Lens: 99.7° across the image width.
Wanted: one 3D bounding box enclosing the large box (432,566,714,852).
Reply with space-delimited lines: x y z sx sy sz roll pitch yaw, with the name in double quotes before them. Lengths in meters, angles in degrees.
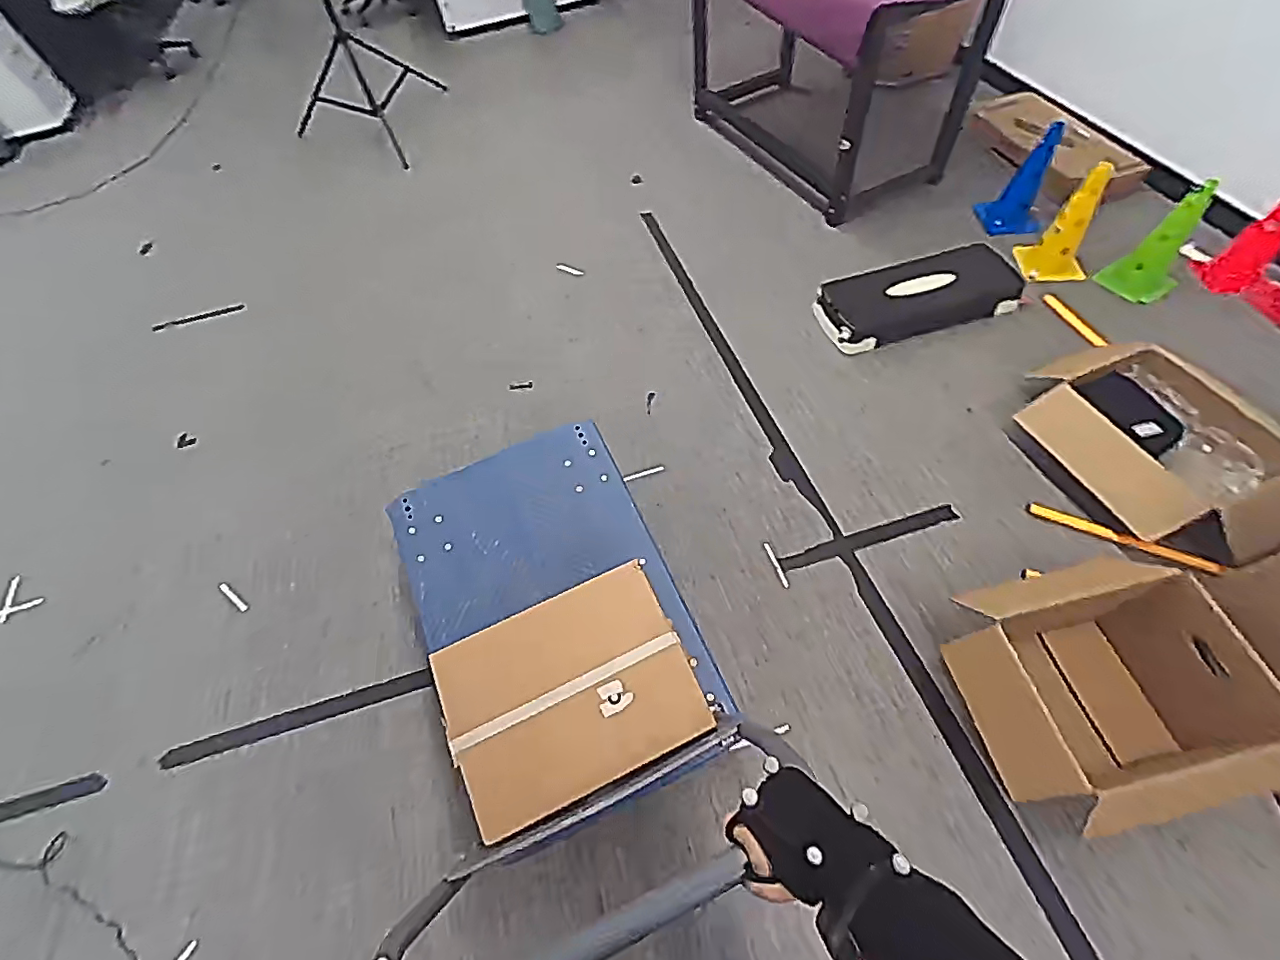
"large box" -0.116 0.423 1.039 0.408 0.320 0.320 -24 68 -9
